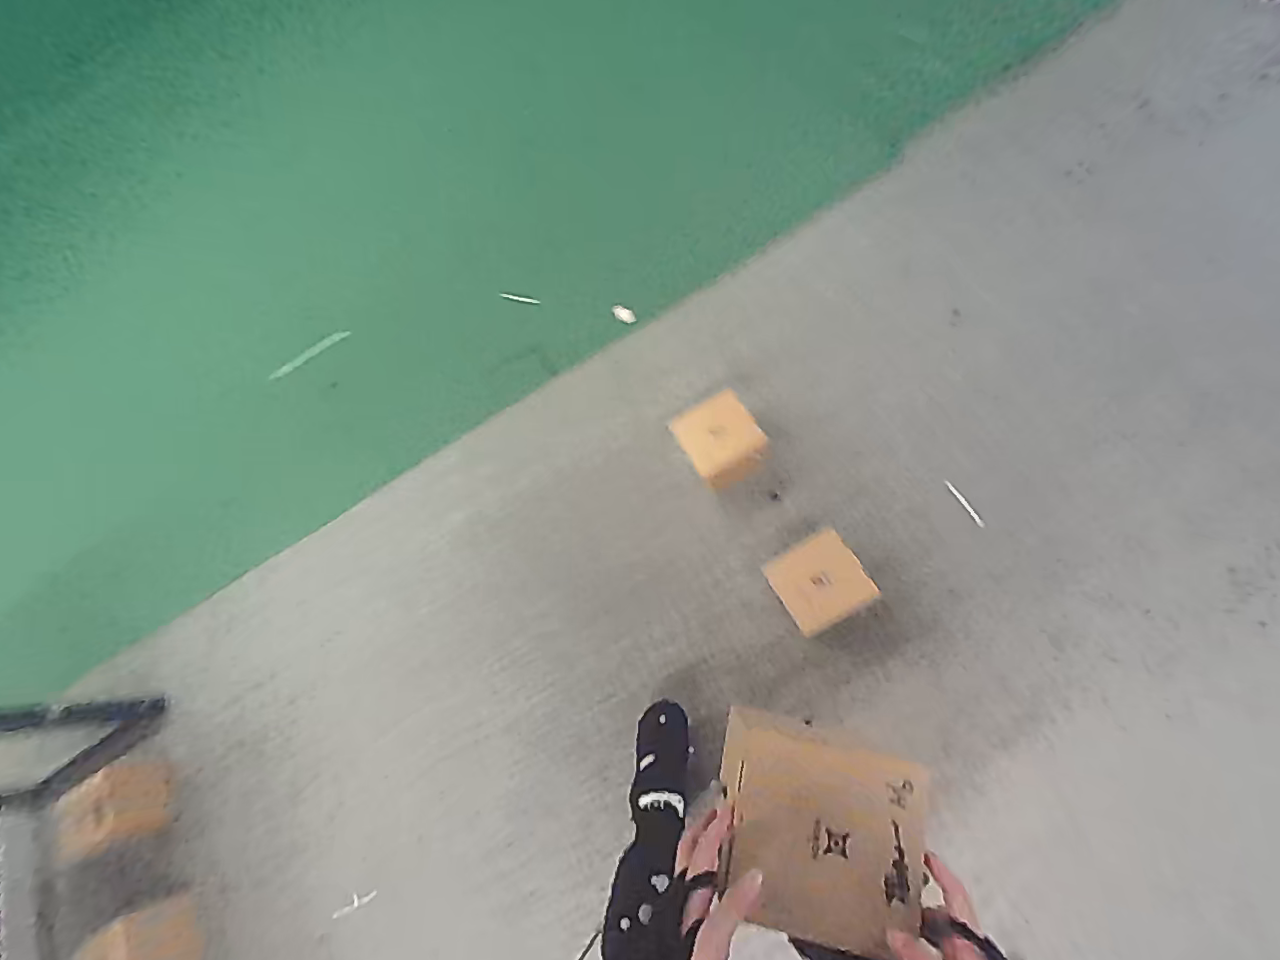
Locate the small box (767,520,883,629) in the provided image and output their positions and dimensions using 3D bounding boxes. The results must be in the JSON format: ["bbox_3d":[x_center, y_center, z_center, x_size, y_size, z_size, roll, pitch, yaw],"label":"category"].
[{"bbox_3d":[0.395,0.212,1.184,0.179,0.176,0.168,-31,67,4],"label":"small box"}]

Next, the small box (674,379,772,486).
[{"bbox_3d":[0.211,-0.109,1.334,0.179,0.176,0.168,-31,67,3],"label":"small box"}]

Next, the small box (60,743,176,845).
[{"bbox_3d":[-1.424,0.853,1.487,0.179,0.176,0.168,-34,67,4],"label":"small box"}]
